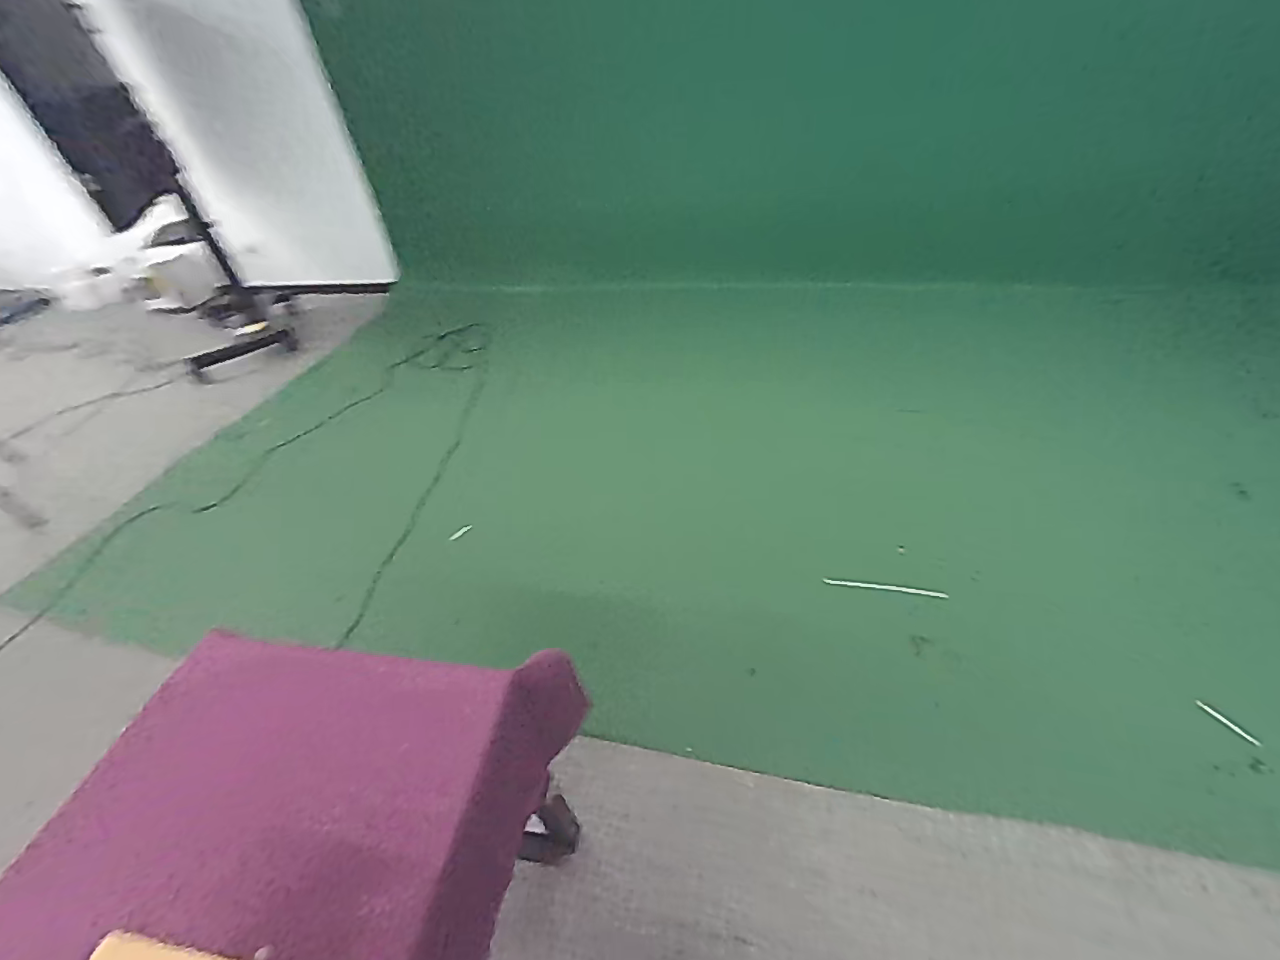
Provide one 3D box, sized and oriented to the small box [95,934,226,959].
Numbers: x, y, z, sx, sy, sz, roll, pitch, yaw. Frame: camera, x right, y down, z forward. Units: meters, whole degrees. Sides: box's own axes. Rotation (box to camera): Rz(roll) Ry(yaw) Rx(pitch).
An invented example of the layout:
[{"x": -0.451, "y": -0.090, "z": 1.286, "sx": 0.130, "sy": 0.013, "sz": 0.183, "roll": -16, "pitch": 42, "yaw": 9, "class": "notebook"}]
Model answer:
[{"x": -0.439, "y": 0.563, "z": 0.509, "sx": 0.179, "sy": 0.176, "sz": 0.168, "roll": 1, "pitch": 43, "yaw": 12, "class": "small box"}]
